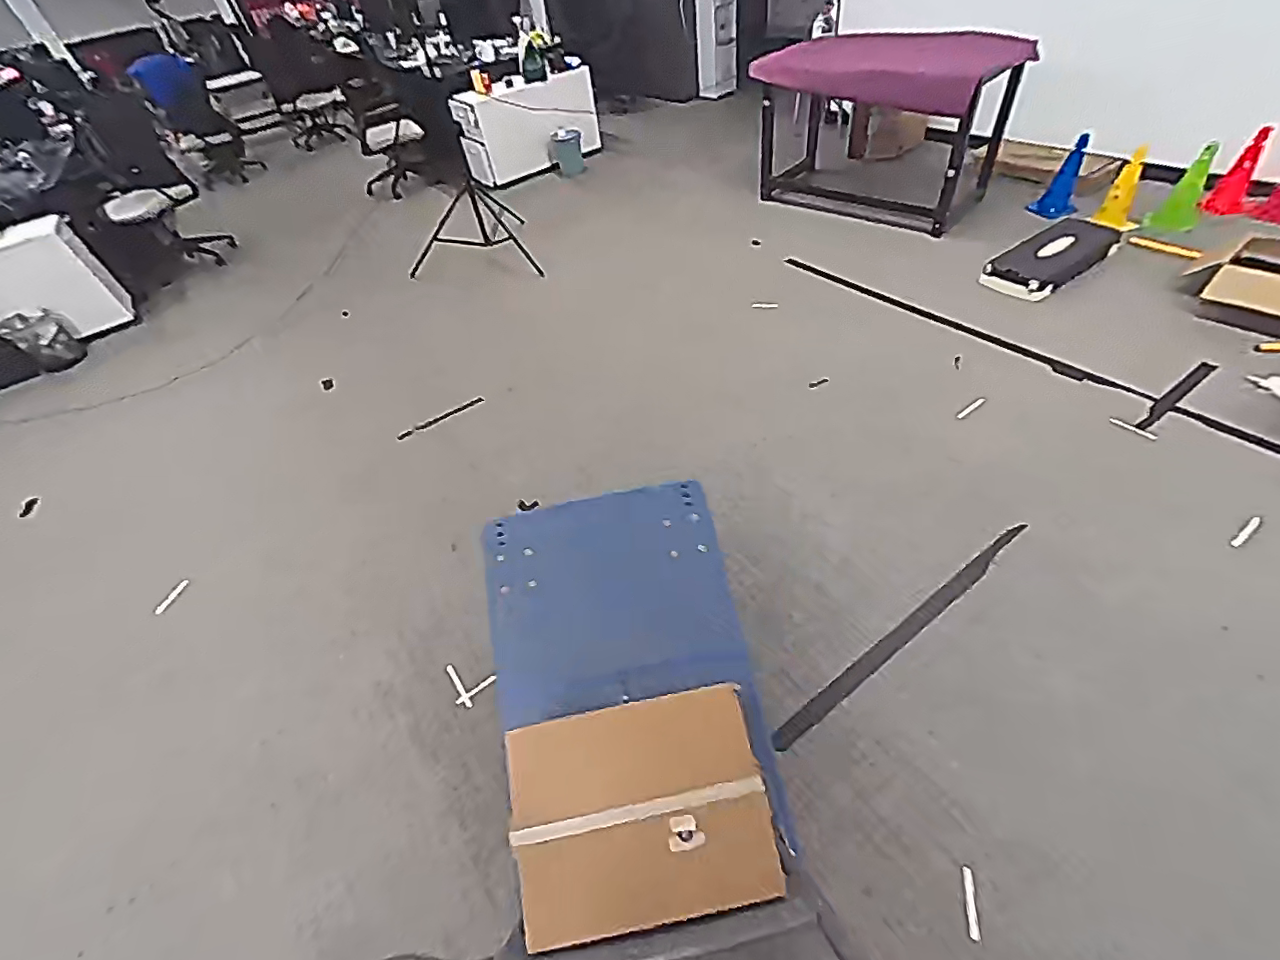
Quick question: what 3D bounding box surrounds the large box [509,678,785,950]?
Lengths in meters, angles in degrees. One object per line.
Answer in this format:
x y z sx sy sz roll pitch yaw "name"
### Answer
0.004 0.589 1.025 0.408 0.320 0.320 -13 69 -4 "large box"
